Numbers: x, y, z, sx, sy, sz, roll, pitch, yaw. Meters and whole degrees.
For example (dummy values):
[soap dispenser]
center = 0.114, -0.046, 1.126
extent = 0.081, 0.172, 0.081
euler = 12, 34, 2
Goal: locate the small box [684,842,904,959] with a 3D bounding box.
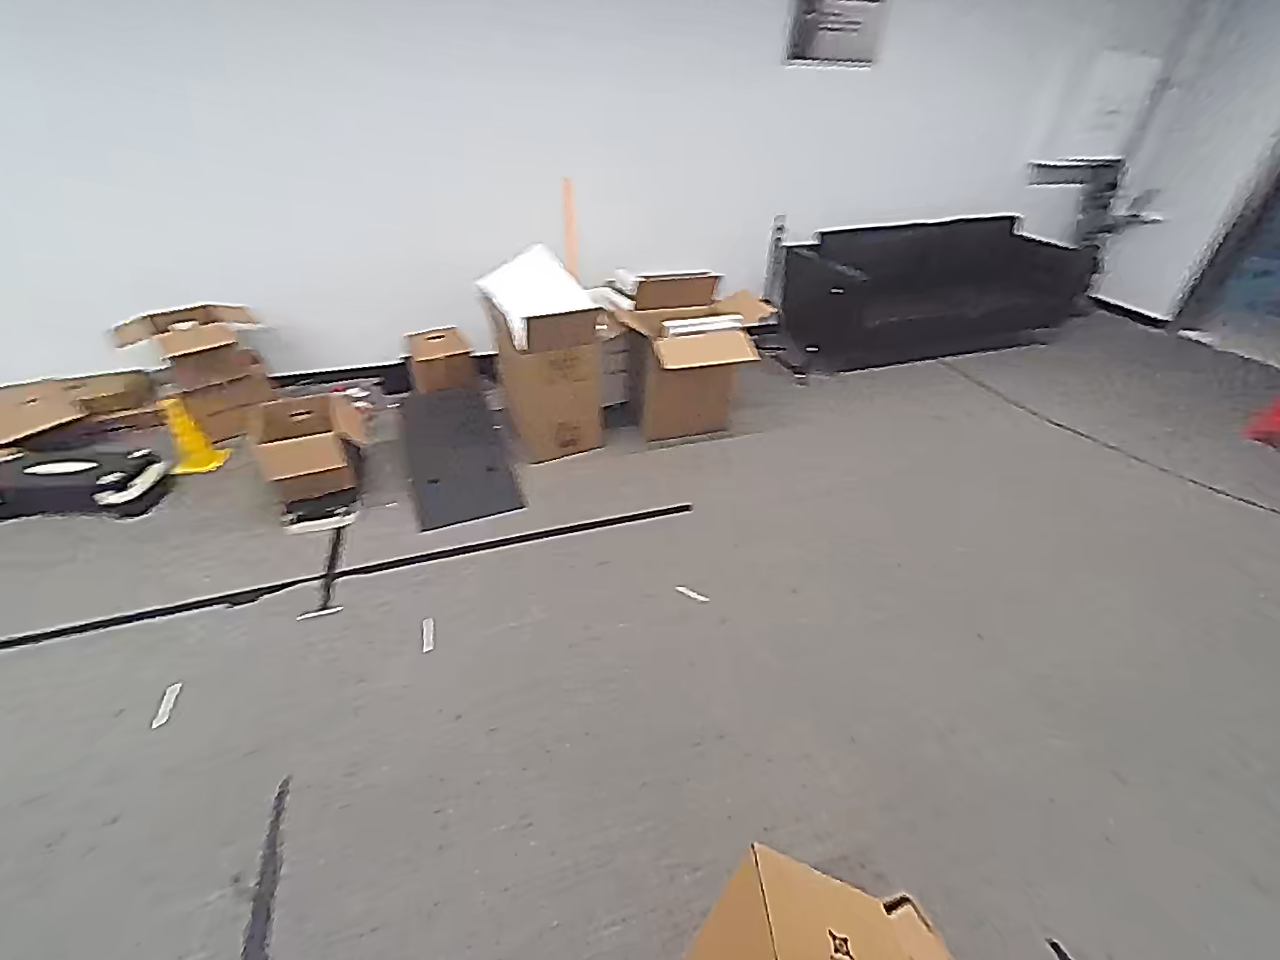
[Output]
[small box]
center = 0.151, 0.515, 0.524
extent = 0.168, 0.176, 0.179
euler = 25, 10, -4
